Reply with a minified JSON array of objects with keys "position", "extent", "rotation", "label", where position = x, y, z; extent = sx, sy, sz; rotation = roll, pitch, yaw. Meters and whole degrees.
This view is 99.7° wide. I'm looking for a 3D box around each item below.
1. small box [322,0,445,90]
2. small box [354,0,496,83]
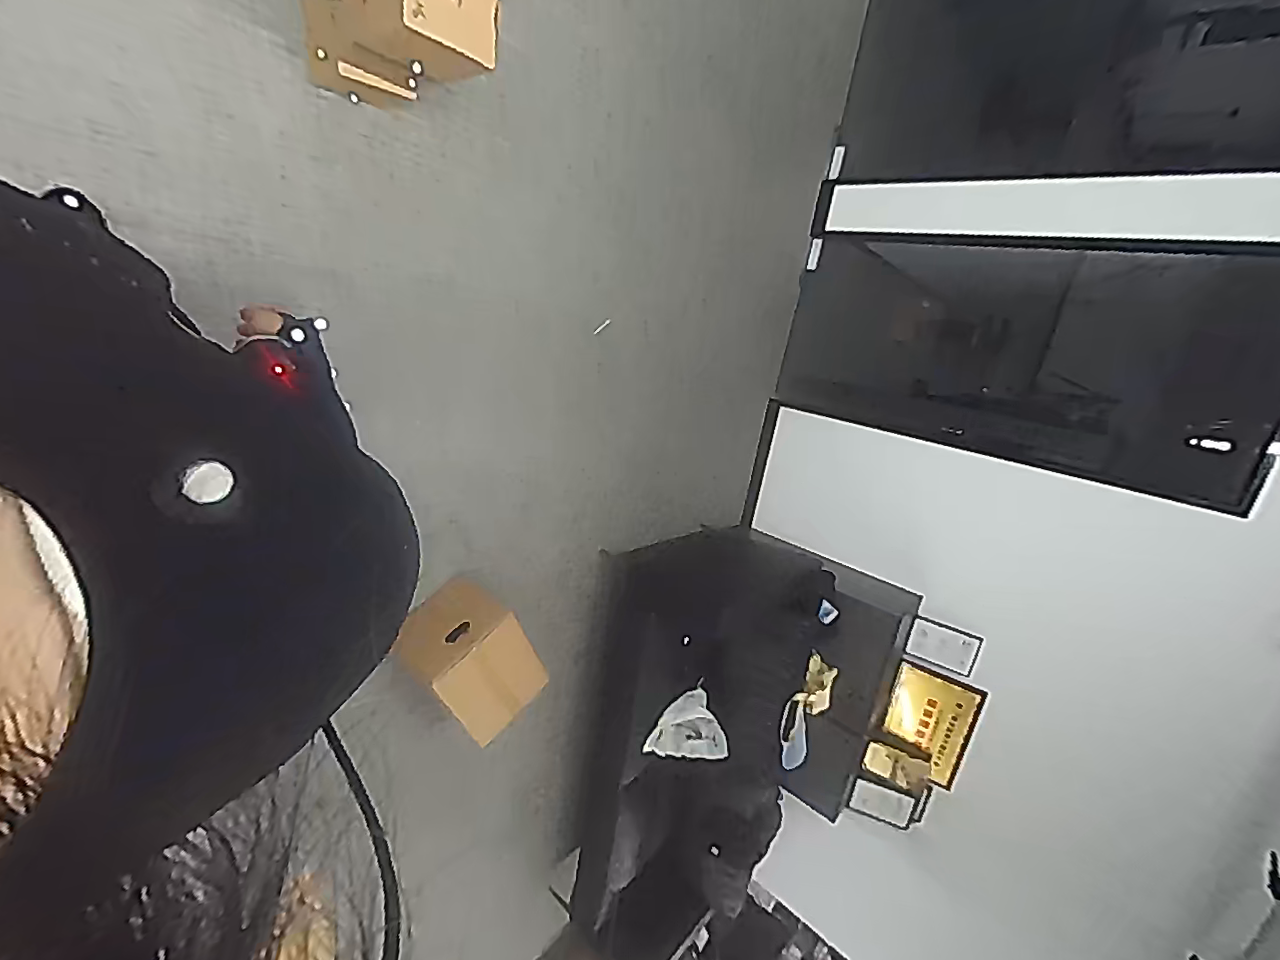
[{"position":[-0.498,-0.897,1.063],"extent":[0.179,0.176,0.168],"rotation":[-10,114,-48],"label":"small box"},{"position":[-0.381,-0.839,0.963],"extent":[0.179,0.176,0.168],"rotation":[-11,115,-49],"label":"small box"}]
